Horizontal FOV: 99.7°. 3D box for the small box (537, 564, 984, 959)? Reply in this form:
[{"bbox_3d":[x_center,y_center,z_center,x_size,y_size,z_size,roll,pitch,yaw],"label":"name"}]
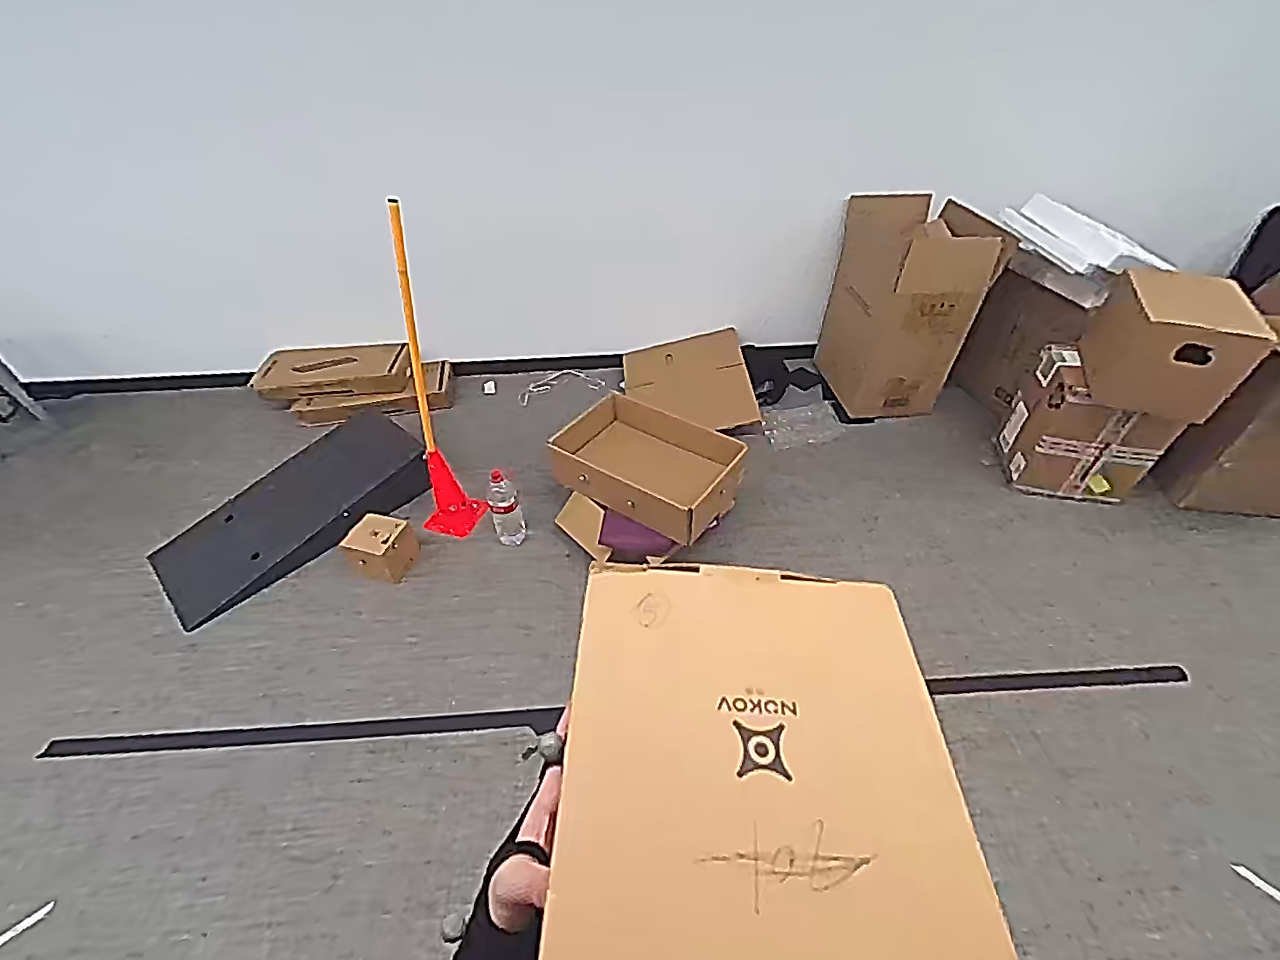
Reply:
[{"bbox_3d":[0.040,0.171,0.303,0.168,0.176,0.179,5,46,-2],"label":"small box"}]
